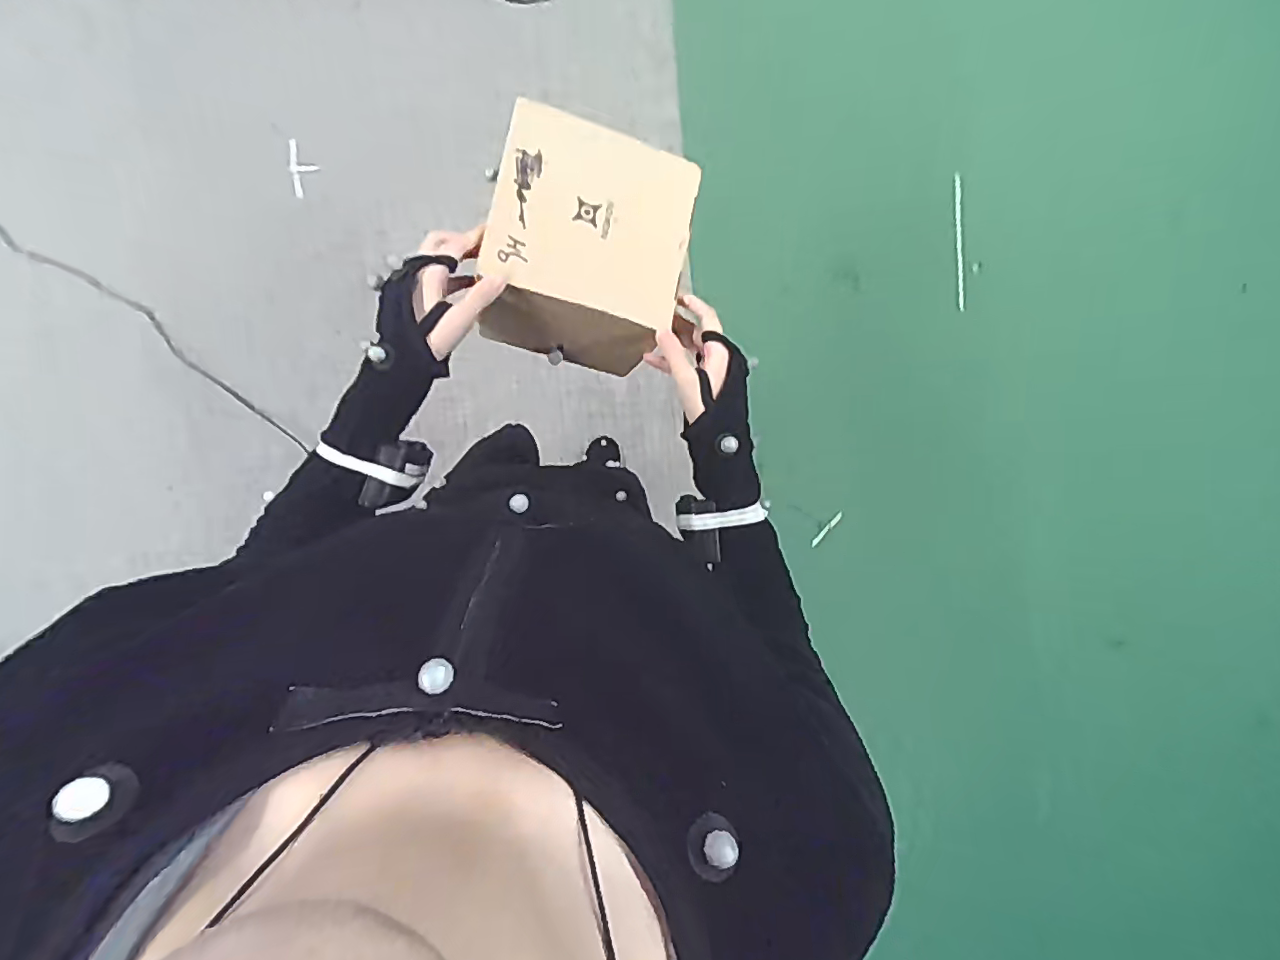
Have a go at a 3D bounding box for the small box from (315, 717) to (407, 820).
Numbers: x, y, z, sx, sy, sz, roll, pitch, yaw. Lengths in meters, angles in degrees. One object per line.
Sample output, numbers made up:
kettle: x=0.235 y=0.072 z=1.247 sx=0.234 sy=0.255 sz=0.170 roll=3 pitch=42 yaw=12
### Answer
small box: x=-0.732 y=0.760 z=1.435 sx=0.168 sy=0.176 sz=0.179 roll=-3 pitch=94 yaw=-5
